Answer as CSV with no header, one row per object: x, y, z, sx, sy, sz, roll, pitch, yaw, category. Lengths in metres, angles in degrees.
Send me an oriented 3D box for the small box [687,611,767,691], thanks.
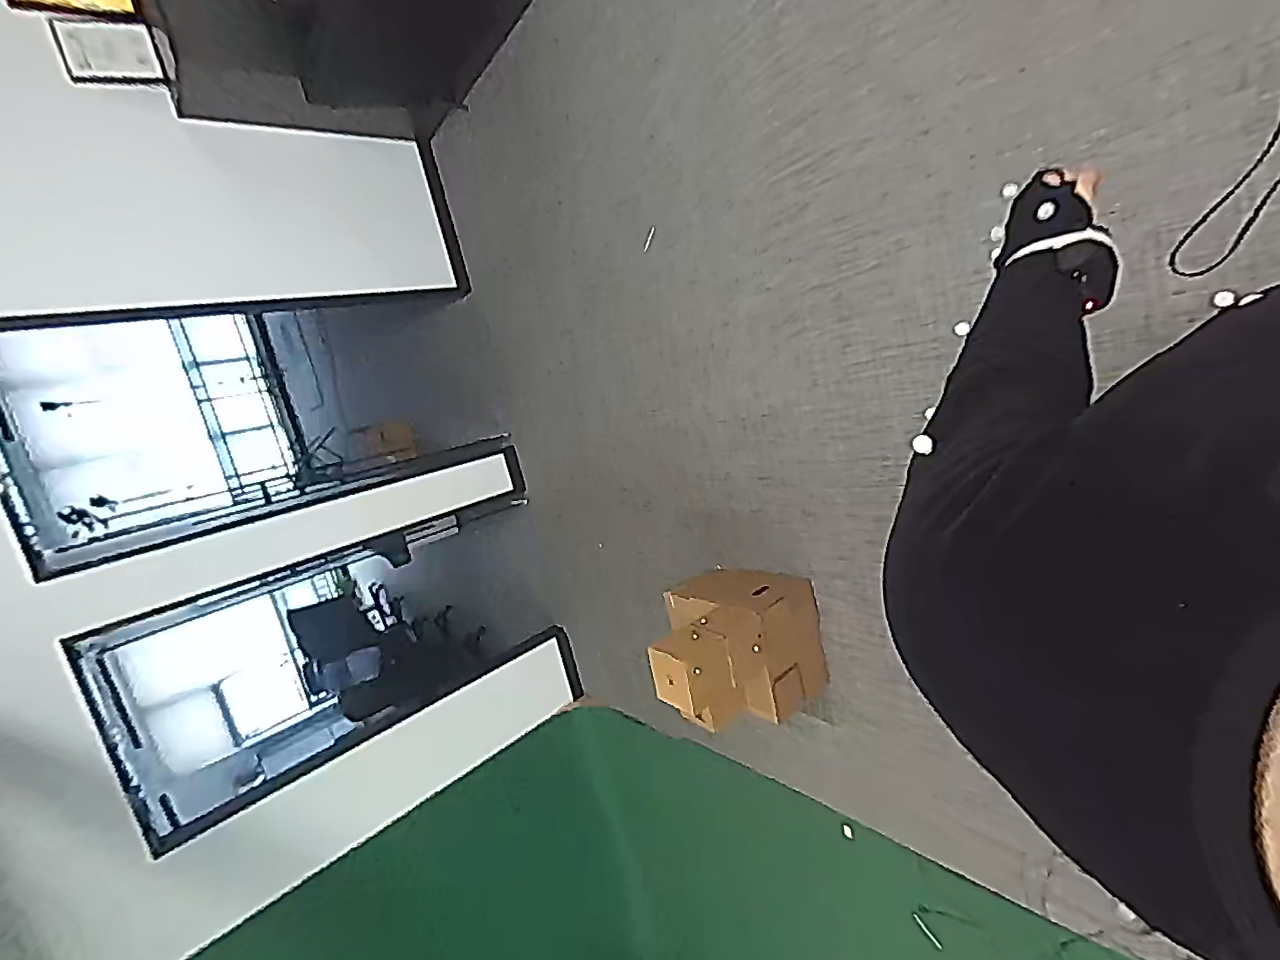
0.276,0.535,1.718,0.179,0.176,0.168,1,106,50,small box

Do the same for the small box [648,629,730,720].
0.151,0.575,1.619,0.168,0.176,0.179,2,106,51,small box
